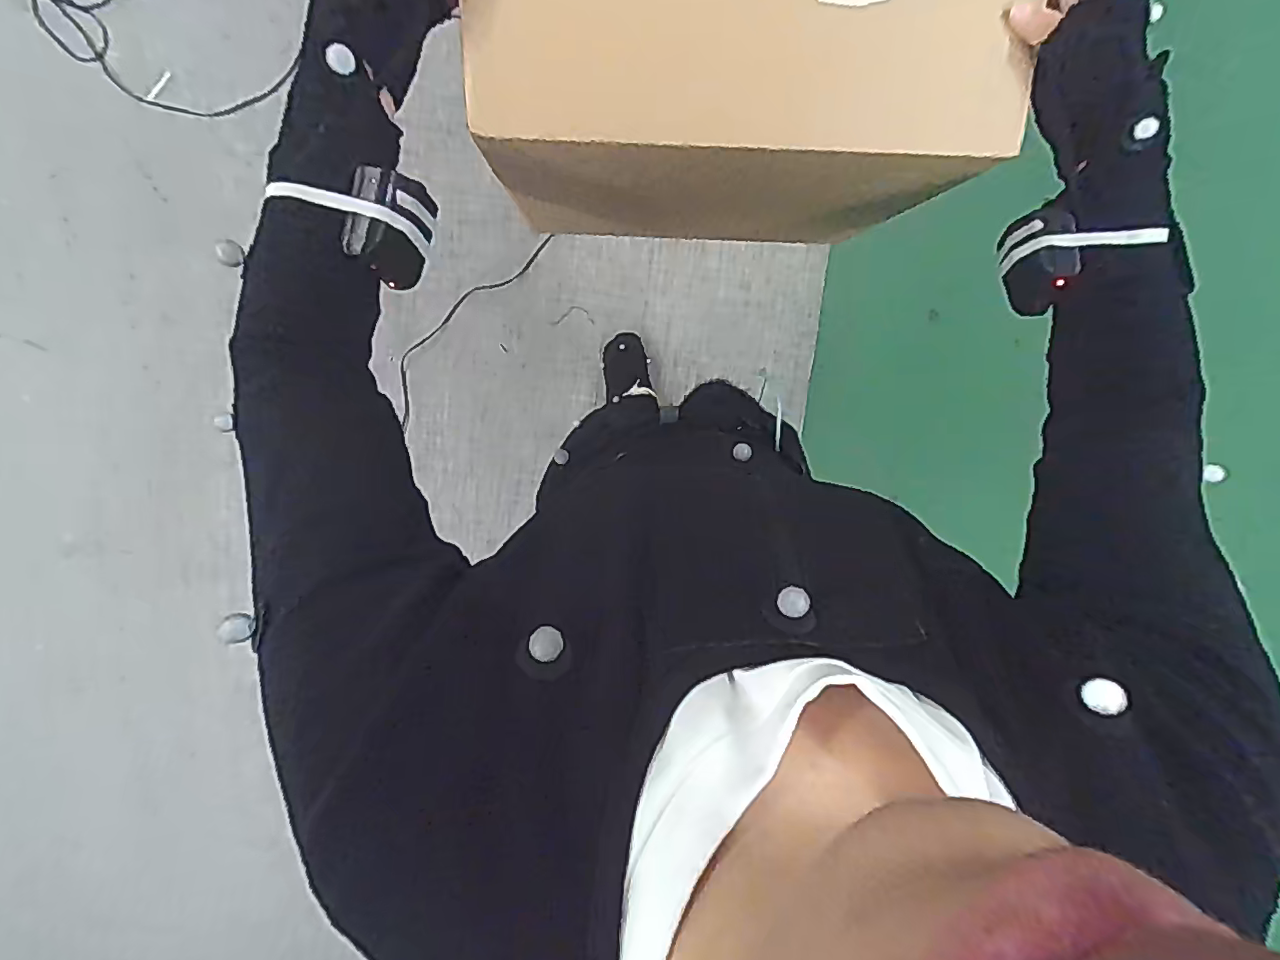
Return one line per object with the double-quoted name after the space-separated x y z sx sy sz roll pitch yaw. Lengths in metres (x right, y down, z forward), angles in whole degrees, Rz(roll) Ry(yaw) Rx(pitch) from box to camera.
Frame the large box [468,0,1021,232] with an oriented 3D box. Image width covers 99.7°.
0.068 -0.435 0.512 0.408 0.320 0.320 0 104 -4 "large box"
